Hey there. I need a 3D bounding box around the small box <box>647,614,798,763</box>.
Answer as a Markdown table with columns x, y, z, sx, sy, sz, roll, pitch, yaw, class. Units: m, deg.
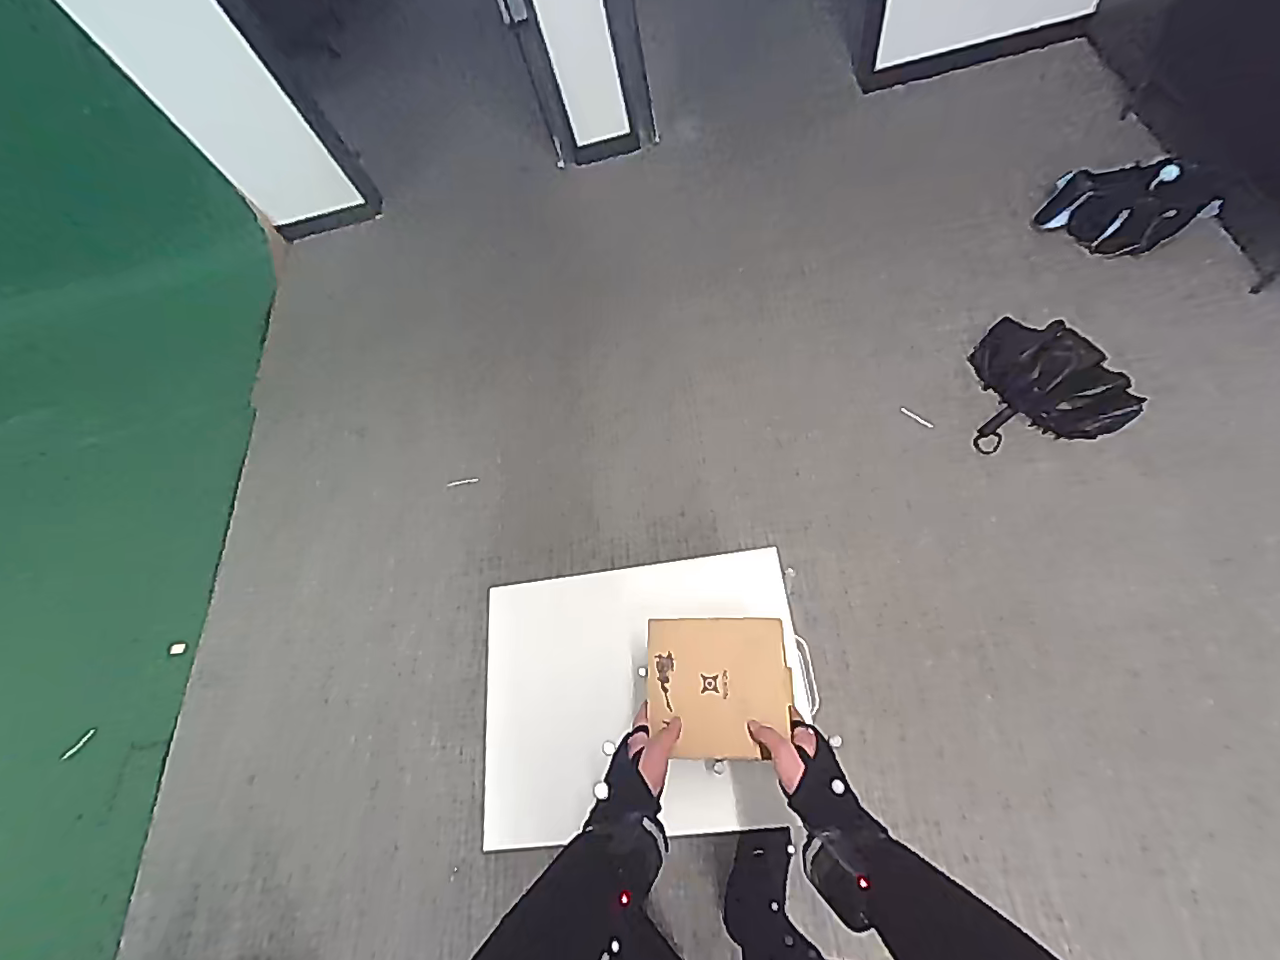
| x | y | z | sx | sy | sz | roll | pitch | yaw | class |
| --- | --- | --- | --- | --- | --- | --- | --- | --- | --- |
| 0.103 | 0.282 | 0.728 | 0.179 | 0.176 | 0.168 | 0 | 64 | 4 | small box |
